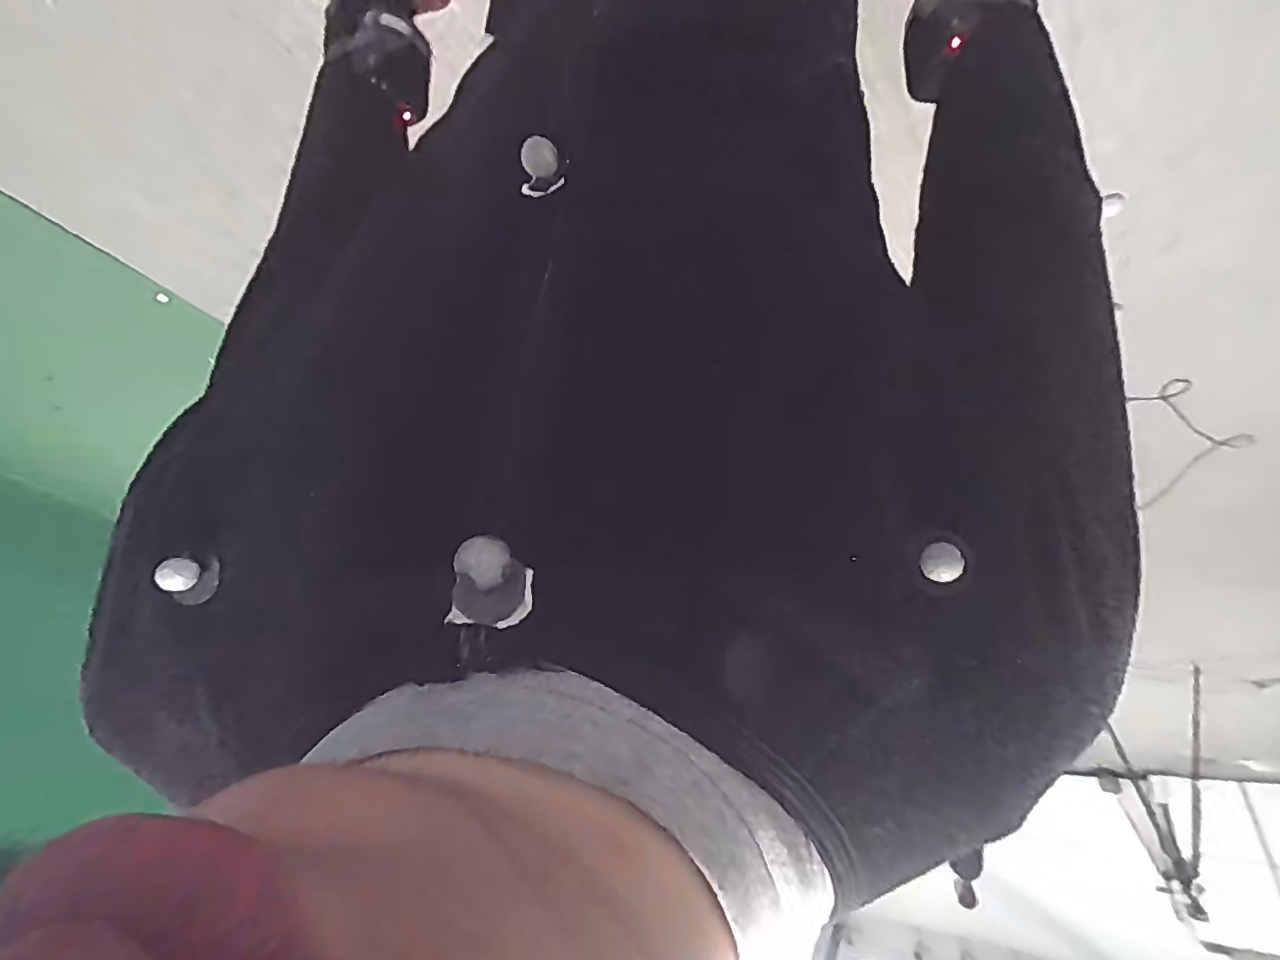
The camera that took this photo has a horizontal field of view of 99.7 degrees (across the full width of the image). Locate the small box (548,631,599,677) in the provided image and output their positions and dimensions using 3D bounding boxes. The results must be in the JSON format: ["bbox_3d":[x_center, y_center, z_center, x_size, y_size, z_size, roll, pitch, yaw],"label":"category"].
[{"bbox_3d":[-0.310,0.824,2.564,0.179,0.176,0.168,-22,137,41],"label":"small box"}]

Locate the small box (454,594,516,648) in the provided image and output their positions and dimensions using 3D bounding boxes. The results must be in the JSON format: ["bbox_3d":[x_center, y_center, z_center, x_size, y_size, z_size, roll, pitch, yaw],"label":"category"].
[{"bbox_3d":[-0.646,0.594,2.275,0.179,0.176,0.168,-20,138,39],"label":"small box"}]
